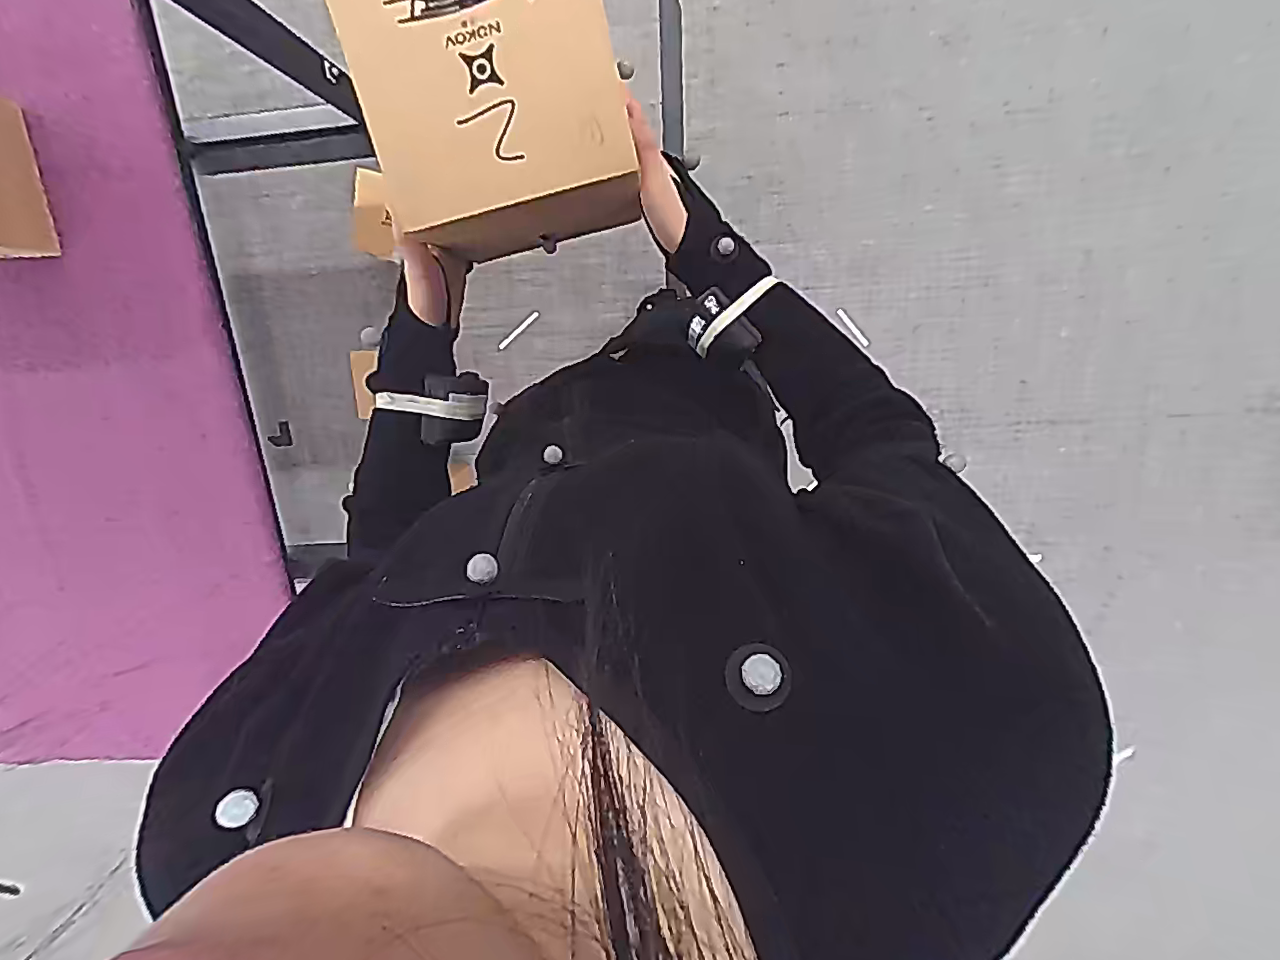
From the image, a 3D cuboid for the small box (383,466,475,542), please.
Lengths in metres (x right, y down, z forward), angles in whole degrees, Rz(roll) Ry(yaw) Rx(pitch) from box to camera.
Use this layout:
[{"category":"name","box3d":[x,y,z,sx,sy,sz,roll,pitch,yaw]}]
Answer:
[{"category":"small box","box3d":[-0.561,0.061,1.467,0.179,0.176,0.168,-1,105,4]}]

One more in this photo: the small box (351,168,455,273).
[{"category":"small box","box3d":[-0.553,-0.605,1.283,0.168,0.176,0.179,14,106,-1]}]

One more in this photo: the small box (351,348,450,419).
[{"category":"small box","box3d":[-0.601,-0.250,1.384,0.179,0.176,0.168,0,105,4]}]

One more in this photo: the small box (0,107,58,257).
[{"category":"small box","box3d":[-0.837,-0.355,0.607,0.168,0.176,0.179,0,106,4]}]
